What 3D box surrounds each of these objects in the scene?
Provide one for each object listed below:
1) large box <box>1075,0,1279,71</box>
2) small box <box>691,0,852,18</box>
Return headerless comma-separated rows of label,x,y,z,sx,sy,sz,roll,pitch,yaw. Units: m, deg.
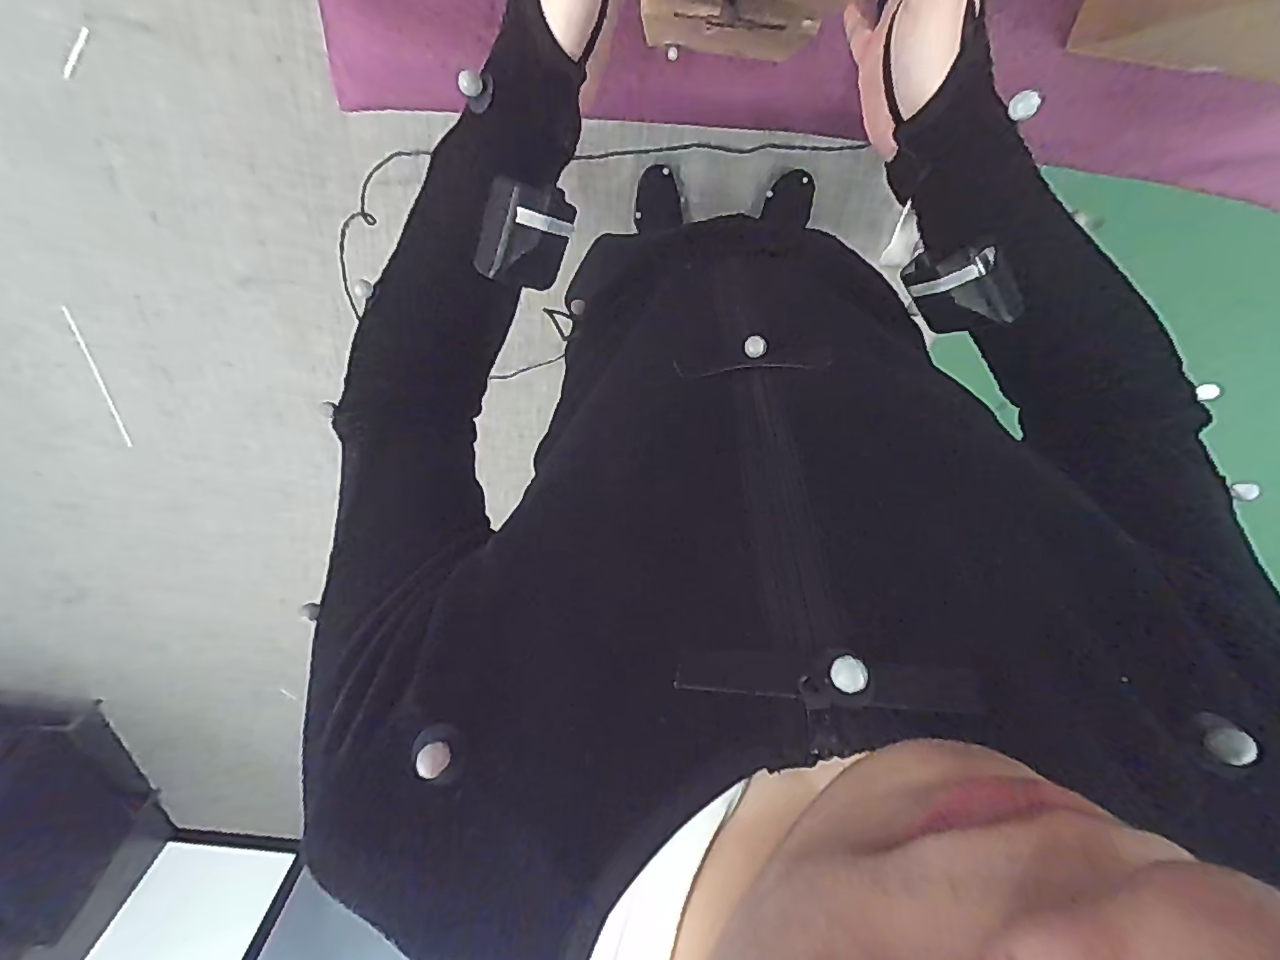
large box,0.647,-0.565,0.385,0.320,0.320,0.408,7,122,0
small box,0.084,-0.436,0.354,0.168,0.176,0.179,8,126,0
